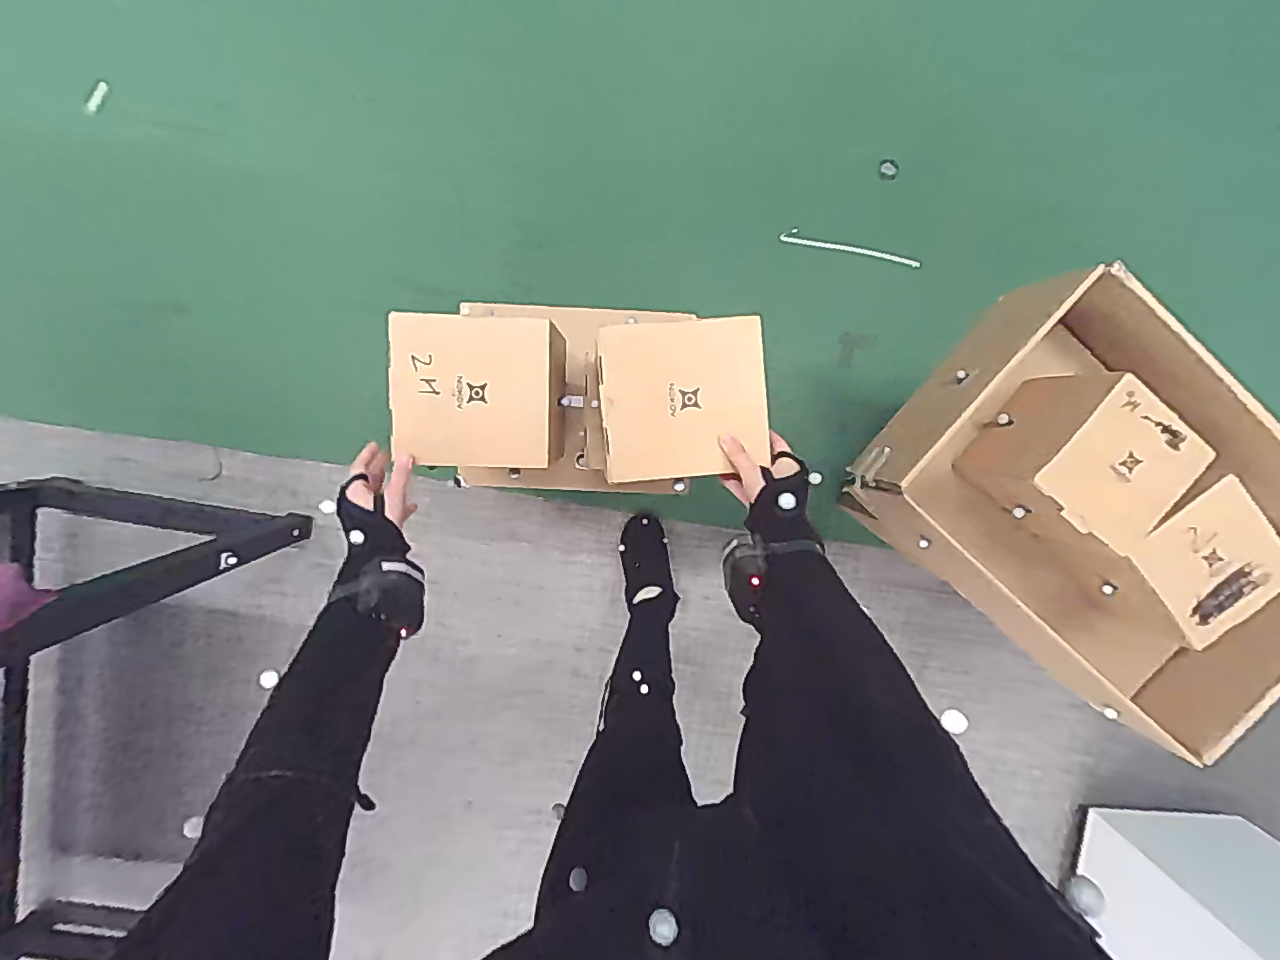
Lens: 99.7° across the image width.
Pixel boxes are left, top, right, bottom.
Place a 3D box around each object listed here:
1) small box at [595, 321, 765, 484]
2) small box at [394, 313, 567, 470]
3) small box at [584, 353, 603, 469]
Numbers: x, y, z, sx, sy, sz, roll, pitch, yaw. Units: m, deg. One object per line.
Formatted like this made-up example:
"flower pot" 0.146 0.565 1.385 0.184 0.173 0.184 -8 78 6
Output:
"small box" 0.039 -0.087 0.653 0.179 0.176 0.168 -5 93 -2
"small box" -0.186 -0.106 0.676 0.179 0.176 0.168 2 96 -1
"small box" 0.008 -0.103 0.846 0.179 0.176 0.168 2 97 -2
